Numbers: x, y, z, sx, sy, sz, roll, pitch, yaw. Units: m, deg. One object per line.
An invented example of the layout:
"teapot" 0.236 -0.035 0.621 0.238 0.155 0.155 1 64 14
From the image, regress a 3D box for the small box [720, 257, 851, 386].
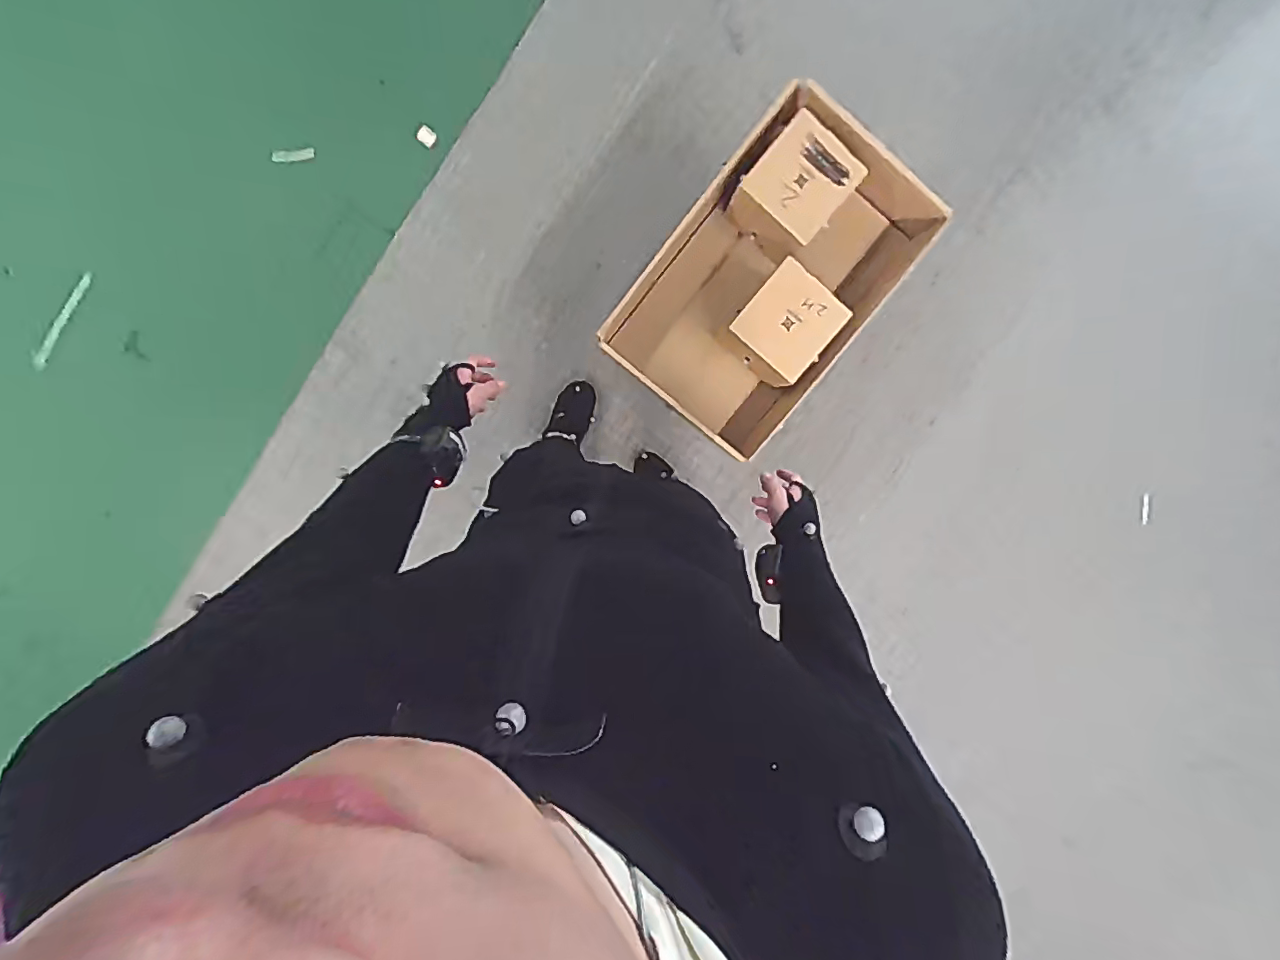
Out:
"small box" 0.277 -0.304 1.083 0.168 0.176 0.179 40 96 -7
